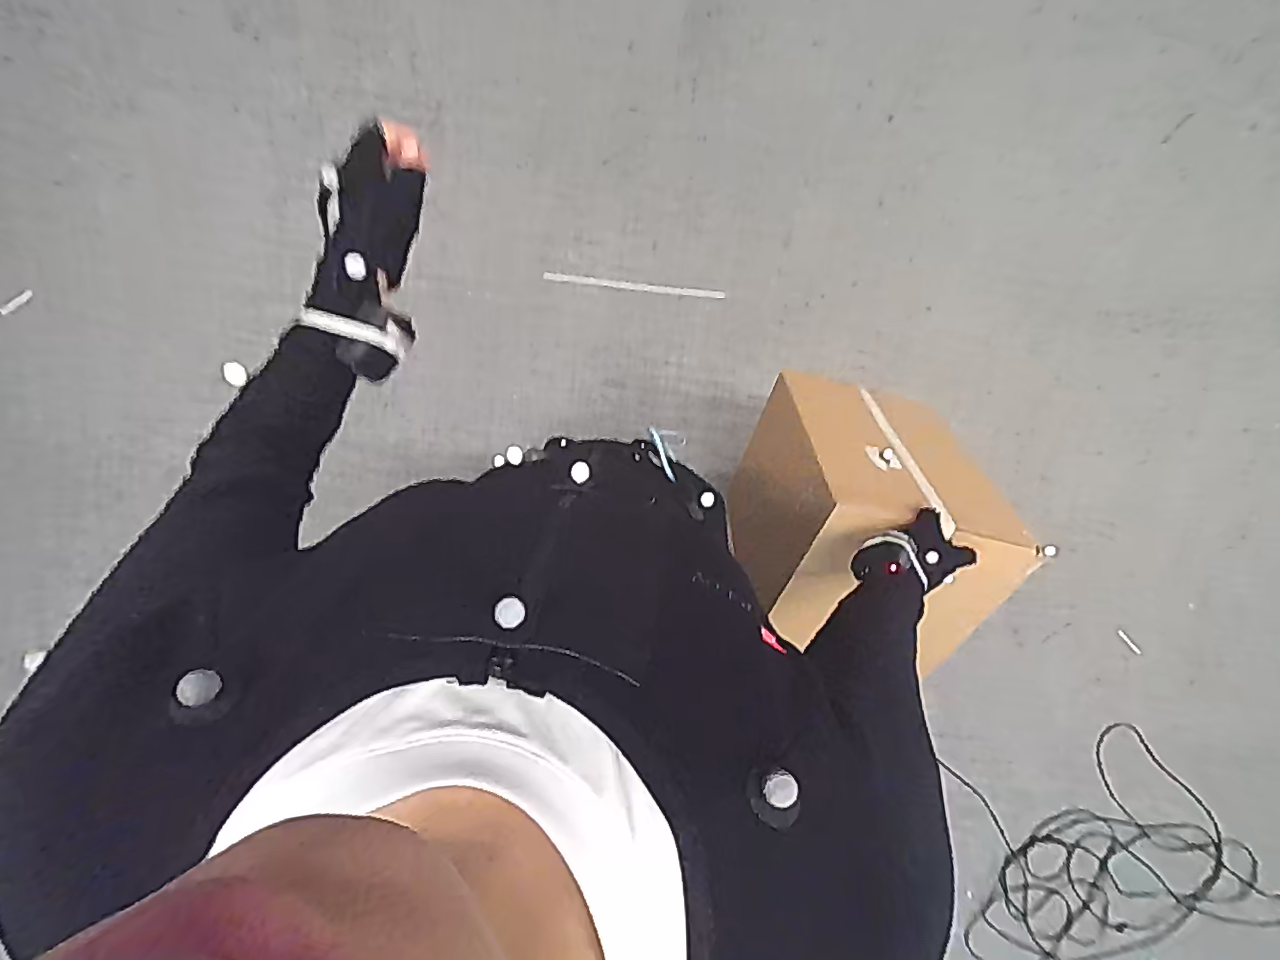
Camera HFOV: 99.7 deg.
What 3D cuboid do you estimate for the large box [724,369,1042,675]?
[{"bbox_3d":[0.361,0.062,0.951,0.320,0.408,0.320,12,127,-8],"label":"large box"}]
